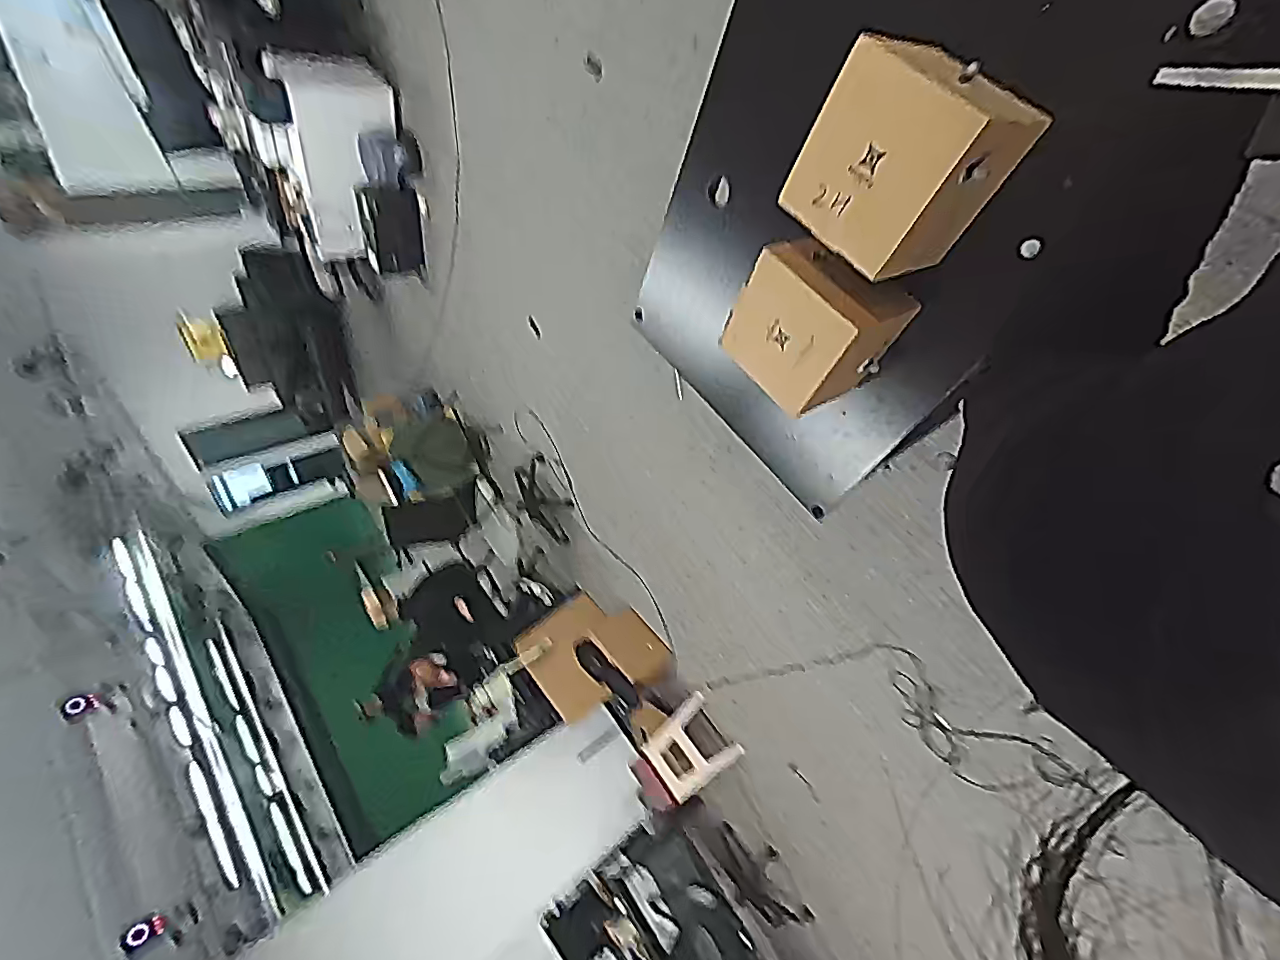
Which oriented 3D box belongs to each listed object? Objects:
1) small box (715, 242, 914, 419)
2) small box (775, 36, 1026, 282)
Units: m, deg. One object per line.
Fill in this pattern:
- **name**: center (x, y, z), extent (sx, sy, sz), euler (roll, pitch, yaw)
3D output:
- **small box**: center (0.247, -0.223, 0.783), extent (0.179, 0.176, 0.168), euler (50, 145, 20)
- **small box**: center (0.297, -0.361, 0.619), extent (0.168, 0.176, 0.179), euler (52, 145, 20)
